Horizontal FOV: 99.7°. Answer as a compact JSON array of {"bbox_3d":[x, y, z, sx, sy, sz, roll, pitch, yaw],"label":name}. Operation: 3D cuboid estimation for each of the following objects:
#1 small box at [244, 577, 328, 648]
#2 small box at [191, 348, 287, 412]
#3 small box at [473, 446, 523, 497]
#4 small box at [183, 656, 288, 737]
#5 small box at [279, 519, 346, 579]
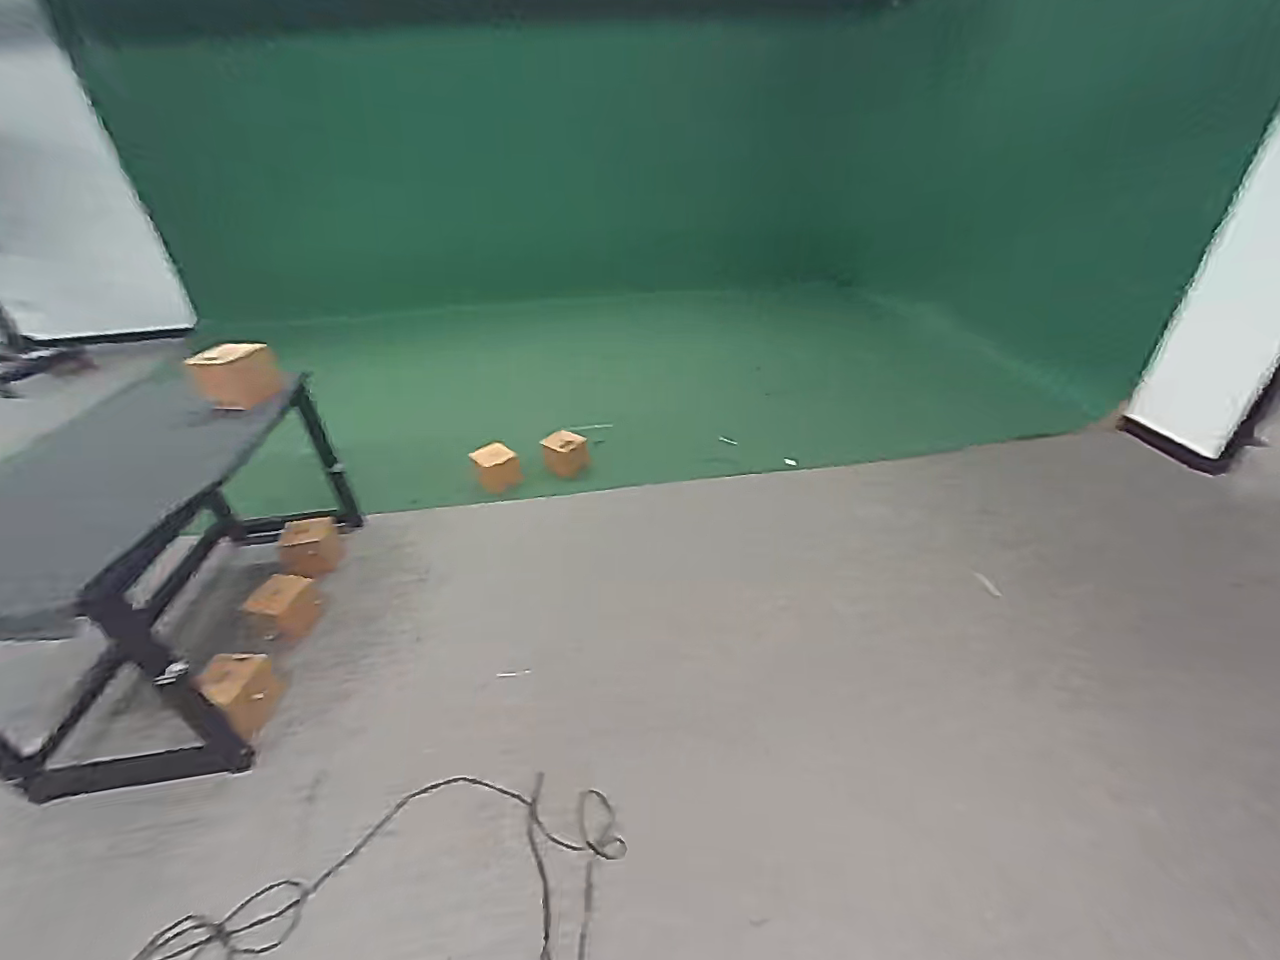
[{"bbox_3d":[-1.272,0.480,1.963,0.168,0.176,0.179,5,36,12],"label":"small box"},{"bbox_3d":[-1.383,-0.348,1.882,0.168,0.176,0.179,4,36,14],"label":"small box"},{"bbox_3d":[-0.706,-0.041,2.689,0.168,0.176,0.179,-29,43,-33],"label":"small box"},{"bbox_3d":[-1.241,0.674,1.677,0.168,0.176,0.179,1,35,5],"label":"small box"},{"bbox_3d":[-1.352,0.289,2.245,0.179,0.176,0.168,-9,34,-9],"label":"small box"}]
